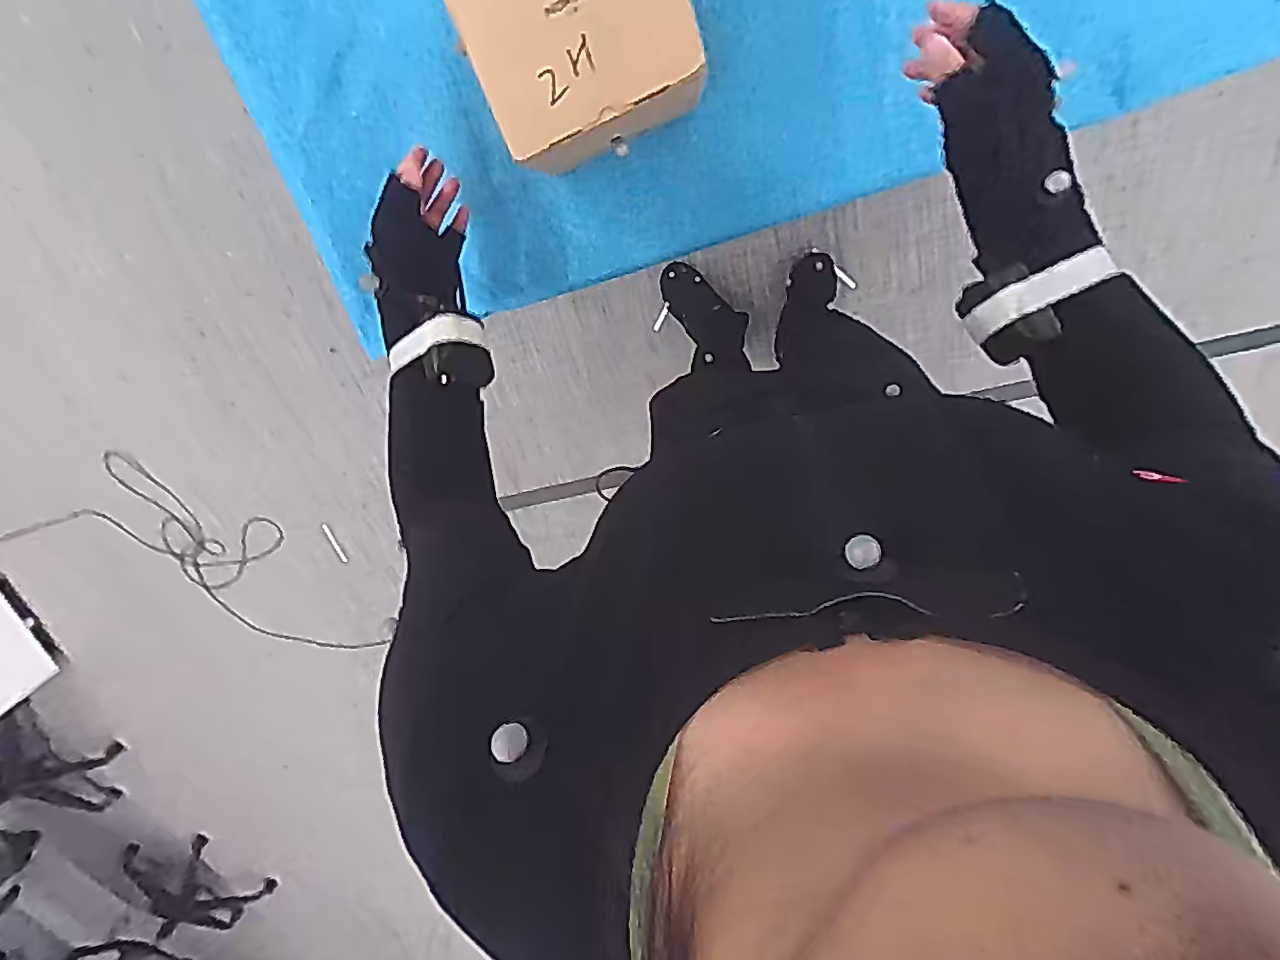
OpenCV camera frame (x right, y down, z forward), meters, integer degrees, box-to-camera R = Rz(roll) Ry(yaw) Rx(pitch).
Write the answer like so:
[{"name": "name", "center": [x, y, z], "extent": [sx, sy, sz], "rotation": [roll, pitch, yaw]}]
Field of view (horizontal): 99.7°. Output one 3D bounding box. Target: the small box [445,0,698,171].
[{"name": "small box", "center": [-0.054, -0.386, 0.462], "extent": [0.168, 0.176, 0.179], "rotation": [-15, 117, 12]}]
